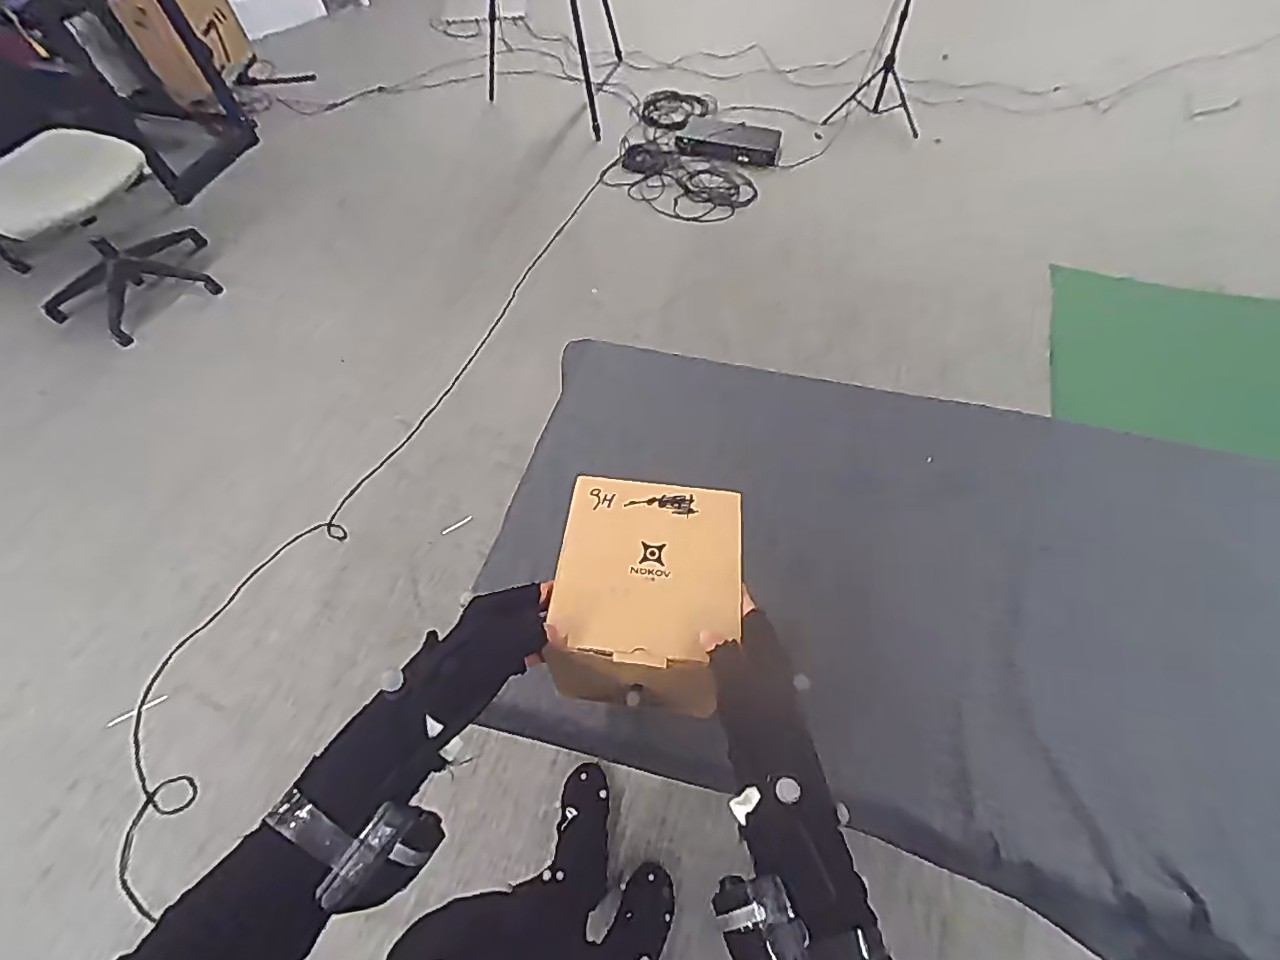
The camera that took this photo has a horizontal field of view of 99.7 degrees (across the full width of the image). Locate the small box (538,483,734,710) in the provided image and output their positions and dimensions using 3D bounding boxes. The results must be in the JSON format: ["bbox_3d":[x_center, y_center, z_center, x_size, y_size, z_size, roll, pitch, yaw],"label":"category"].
[{"bbox_3d":[0.003,0.126,0.561,0.168,0.176,0.179,6,55,3],"label":"small box"}]
